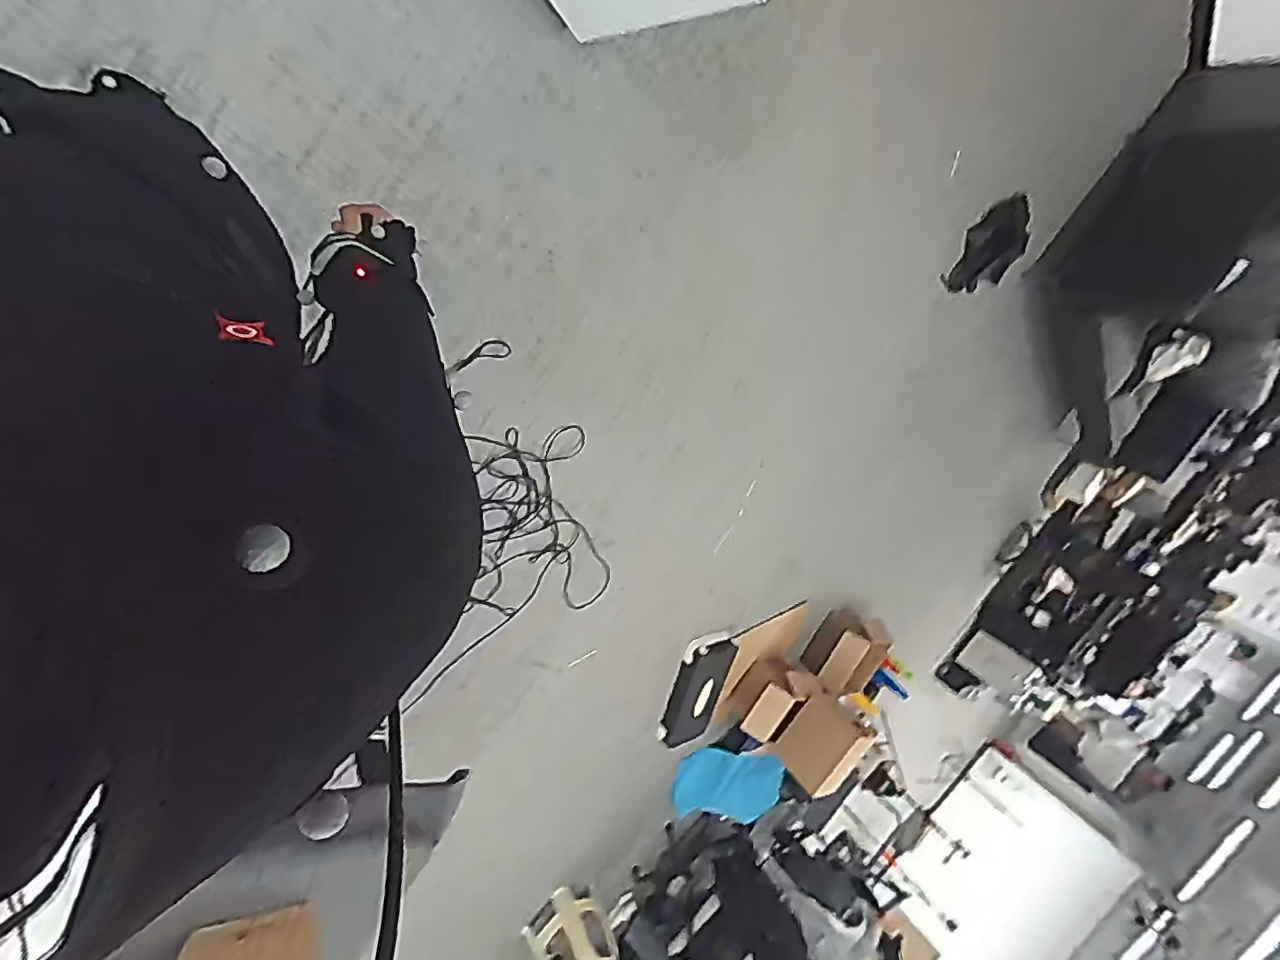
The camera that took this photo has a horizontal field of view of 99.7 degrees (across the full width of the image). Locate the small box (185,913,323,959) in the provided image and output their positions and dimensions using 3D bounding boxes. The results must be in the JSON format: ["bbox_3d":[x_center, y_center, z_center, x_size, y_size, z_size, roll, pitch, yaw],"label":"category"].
[{"bbox_3d":[-0.594,0.792,0.806,0.168,0.176,0.179,23,103,-43],"label":"small box"}]
